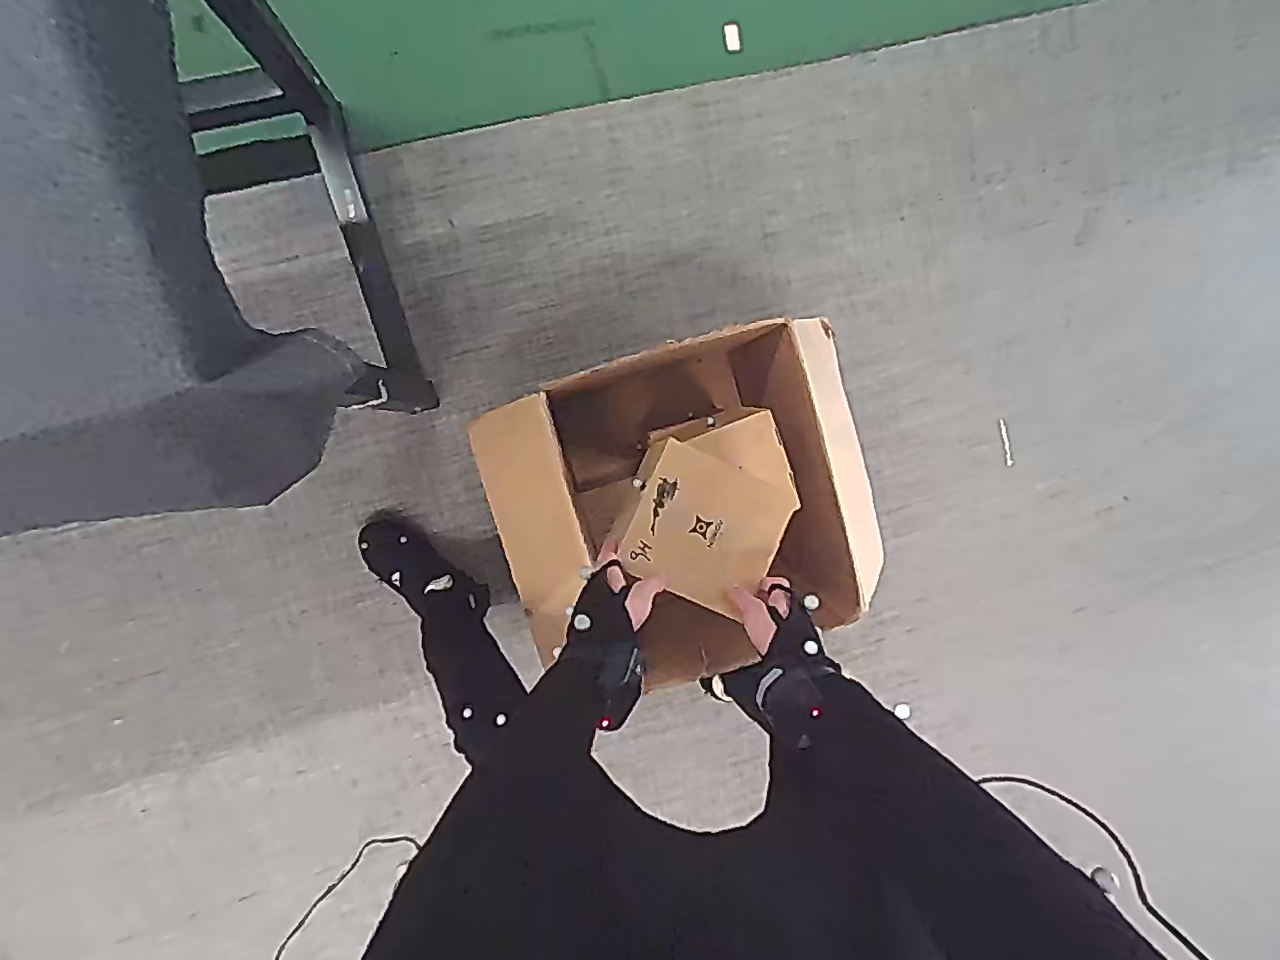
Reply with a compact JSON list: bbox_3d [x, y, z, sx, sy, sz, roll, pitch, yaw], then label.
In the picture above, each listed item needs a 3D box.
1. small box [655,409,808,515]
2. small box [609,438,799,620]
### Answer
[{"bbox_3d":[0.140,-0.013,0.880,0.179,0.176,0.168,-21,100,-4],"label":"small box"},{"bbox_3d":[0.072,0.059,0.714,0.179,0.176,0.168,25,85,-5],"label":"small box"}]
